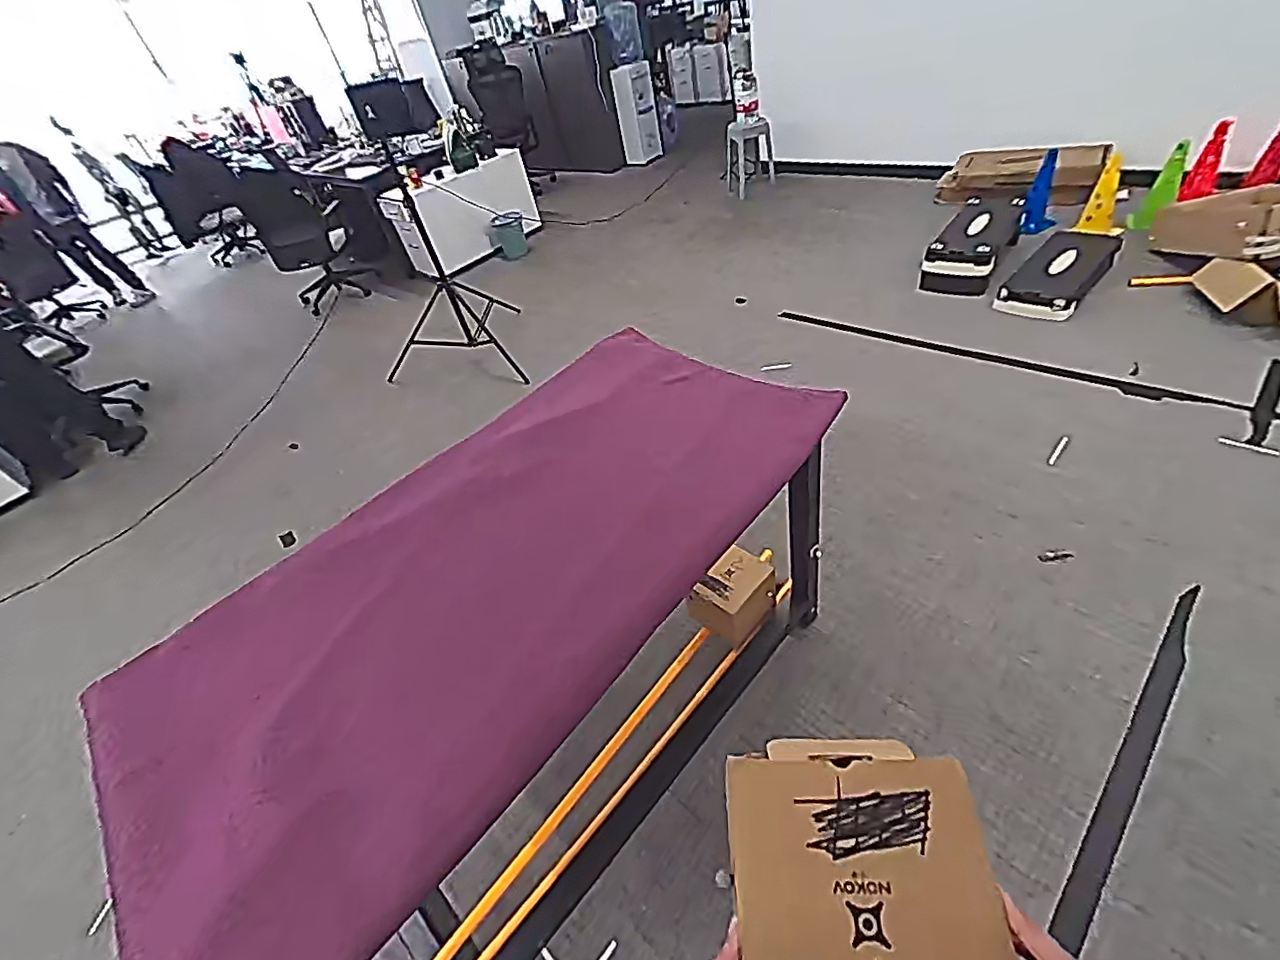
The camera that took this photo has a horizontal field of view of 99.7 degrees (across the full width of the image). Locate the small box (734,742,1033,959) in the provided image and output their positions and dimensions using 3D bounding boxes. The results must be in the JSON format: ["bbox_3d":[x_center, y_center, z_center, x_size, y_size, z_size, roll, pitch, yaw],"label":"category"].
[{"bbox_3d":[0.160,0.310,0.407,0.168,0.176,0.179,-3,53,7],"label":"small box"}]
